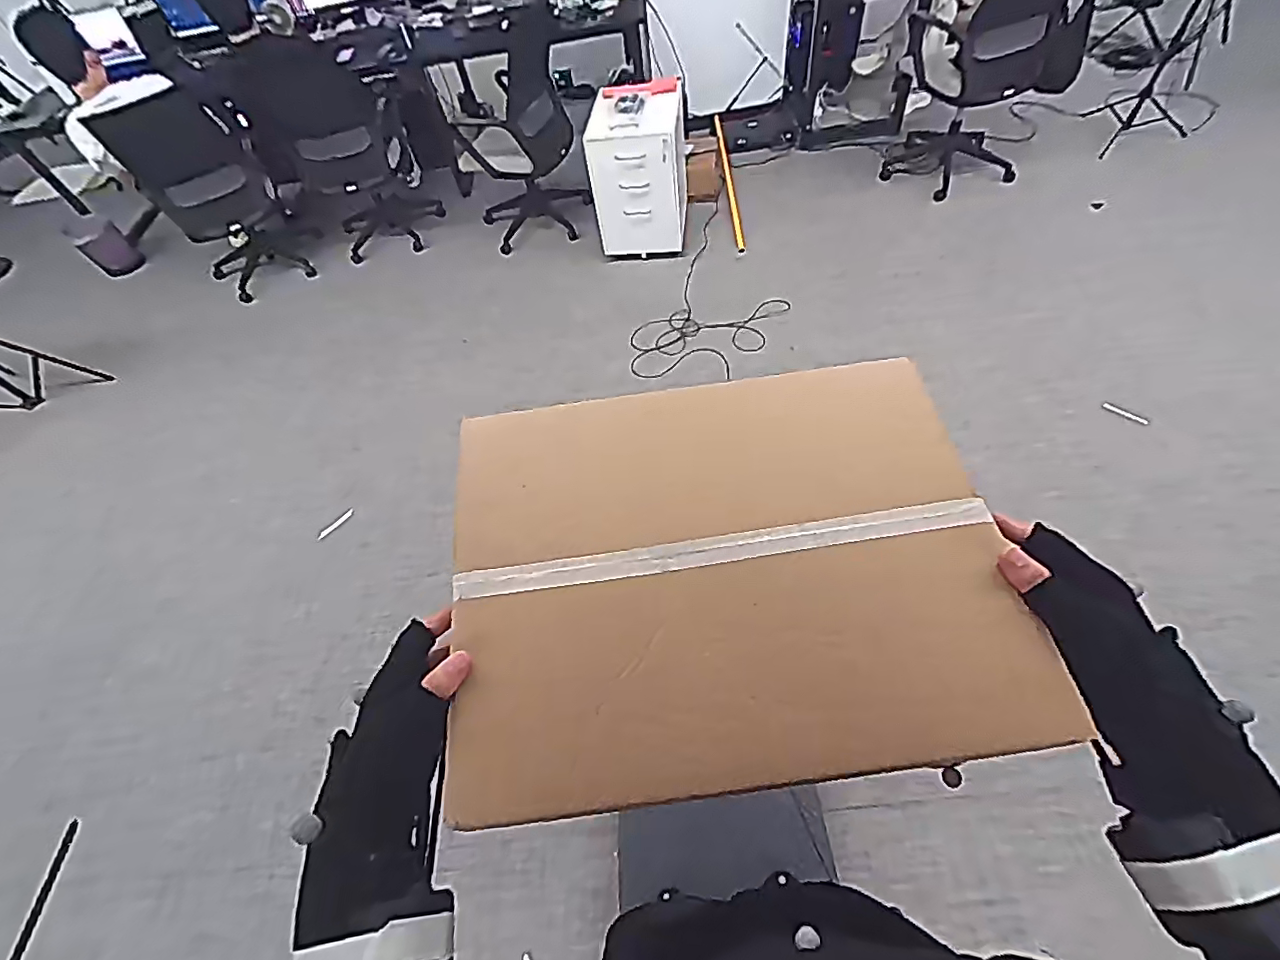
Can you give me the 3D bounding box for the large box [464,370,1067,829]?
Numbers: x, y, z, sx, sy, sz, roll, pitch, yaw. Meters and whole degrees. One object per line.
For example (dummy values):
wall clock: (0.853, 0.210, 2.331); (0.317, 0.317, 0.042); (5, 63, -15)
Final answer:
large box: (0.074, 0.130, 0.547); (0.408, 0.320, 0.320); (-8, 60, 0)
